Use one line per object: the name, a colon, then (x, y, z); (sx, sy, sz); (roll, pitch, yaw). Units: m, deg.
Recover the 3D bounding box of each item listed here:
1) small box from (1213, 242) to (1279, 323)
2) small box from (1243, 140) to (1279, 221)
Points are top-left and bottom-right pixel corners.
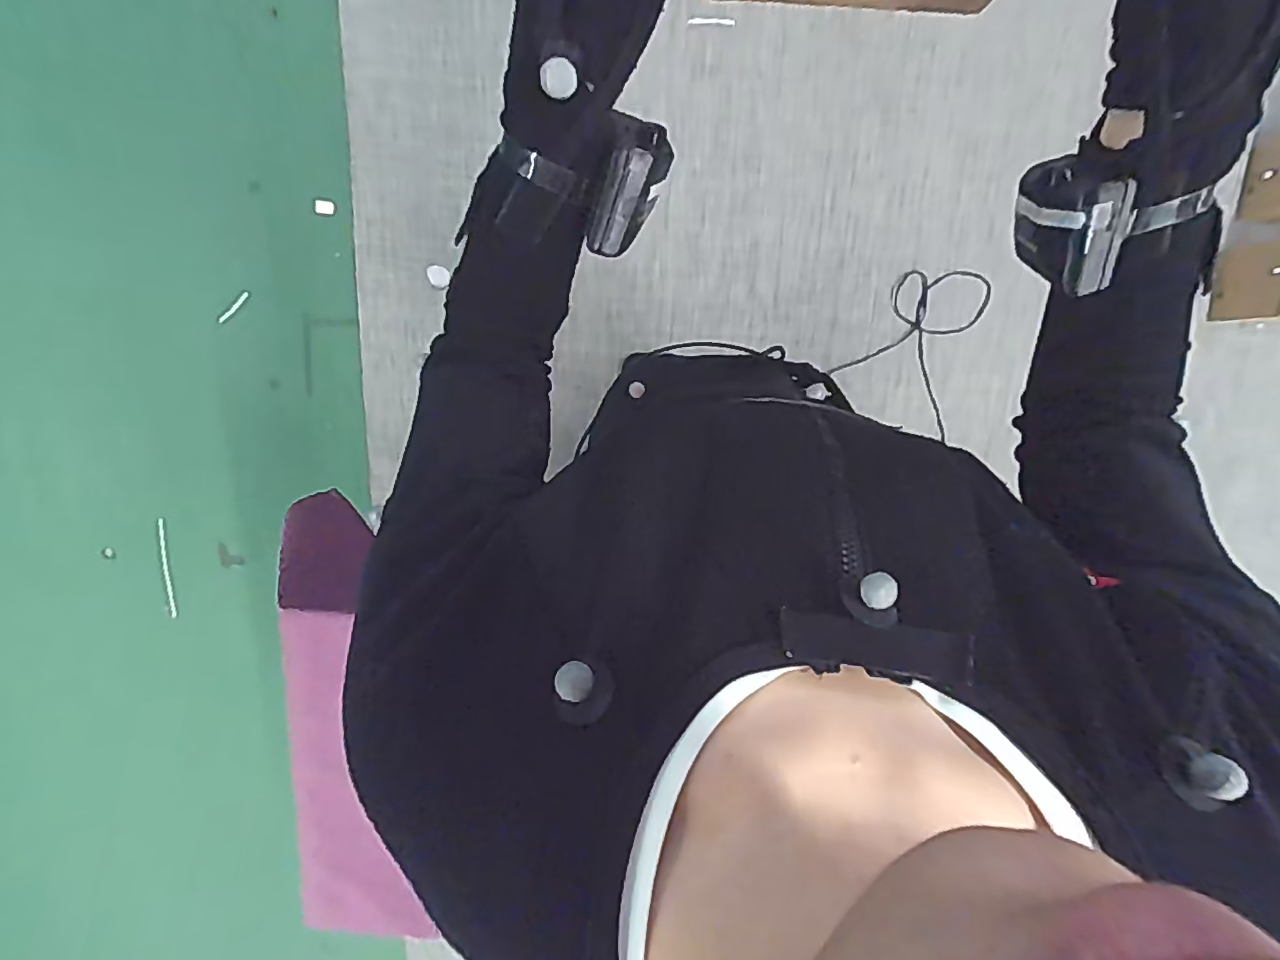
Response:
small box: (1.471, -0.445, 1.211); (0.179, 0.176, 0.168); (1, 102, 3)
small box: (1.490, -0.665, 1.161); (0.179, 0.176, 0.168); (4, 102, 3)
